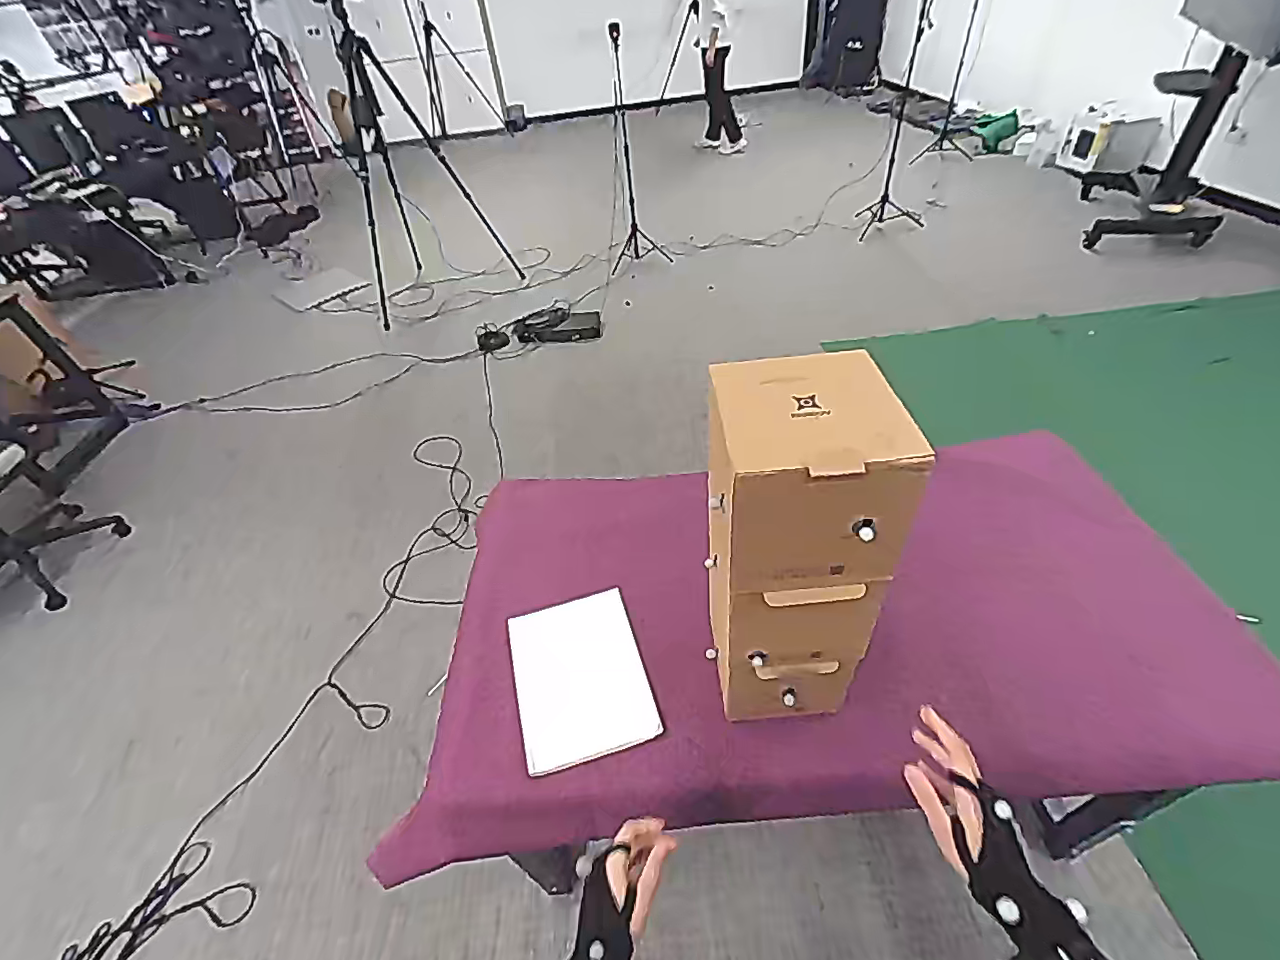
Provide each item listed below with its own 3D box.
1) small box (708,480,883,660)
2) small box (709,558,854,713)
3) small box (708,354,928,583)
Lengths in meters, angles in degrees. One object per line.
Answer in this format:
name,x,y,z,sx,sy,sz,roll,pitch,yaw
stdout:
small box,0.178,0.109,0.672,0.168,0.176,0.179,-5,42,2
small box,0.193,0.225,0.789,0.168,0.176,0.179,-5,44,2
small box,0.162,-0.007,0.558,0.168,0.176,0.179,-4,42,2
